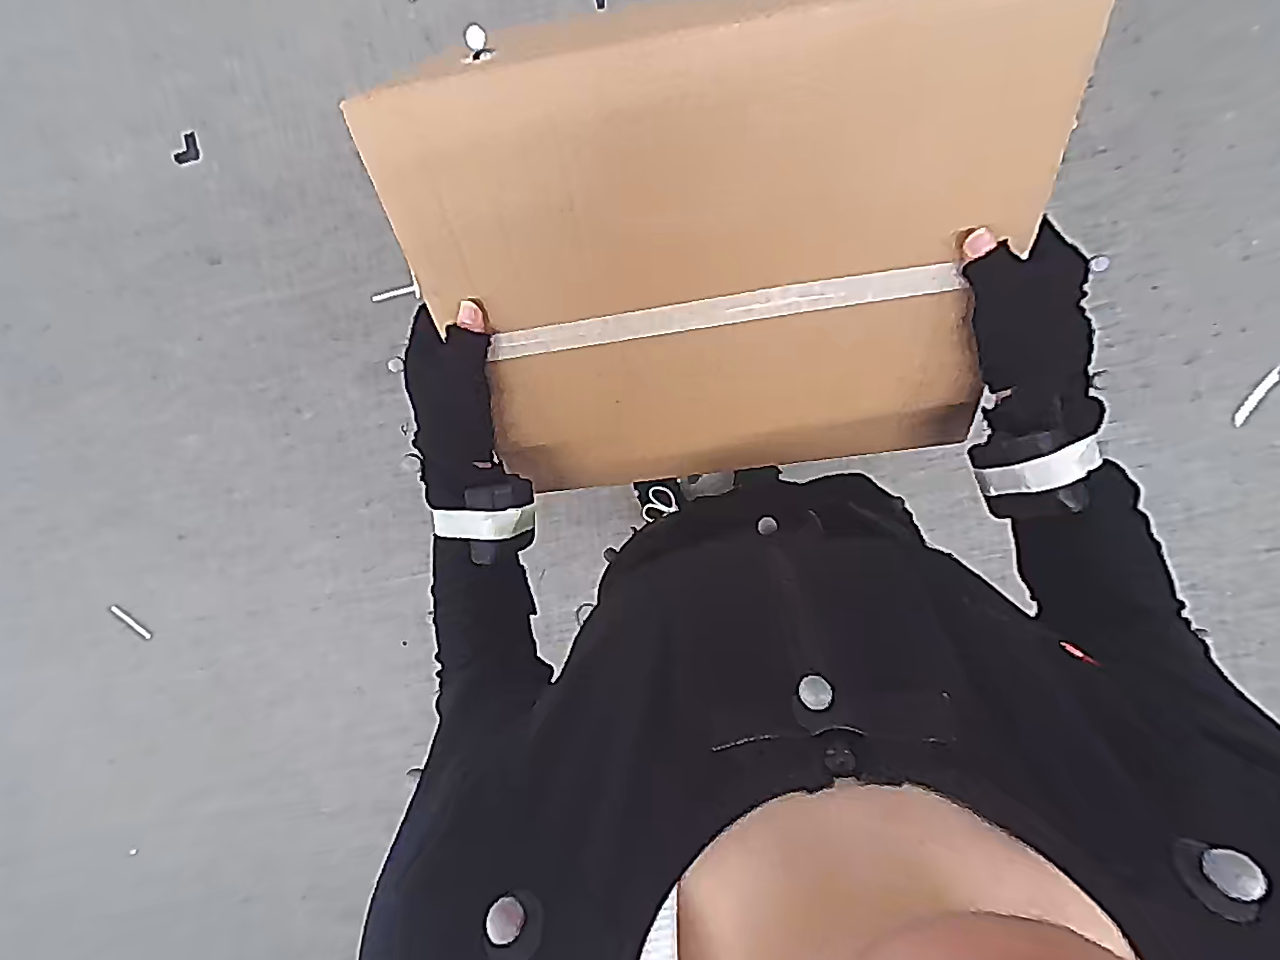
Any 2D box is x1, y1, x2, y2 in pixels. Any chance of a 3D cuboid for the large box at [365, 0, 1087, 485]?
[{"bbox_3d":[0.053,-0.230,0.499,0.408,0.320,0.320,-7,135,5],"label":"large box"}]
